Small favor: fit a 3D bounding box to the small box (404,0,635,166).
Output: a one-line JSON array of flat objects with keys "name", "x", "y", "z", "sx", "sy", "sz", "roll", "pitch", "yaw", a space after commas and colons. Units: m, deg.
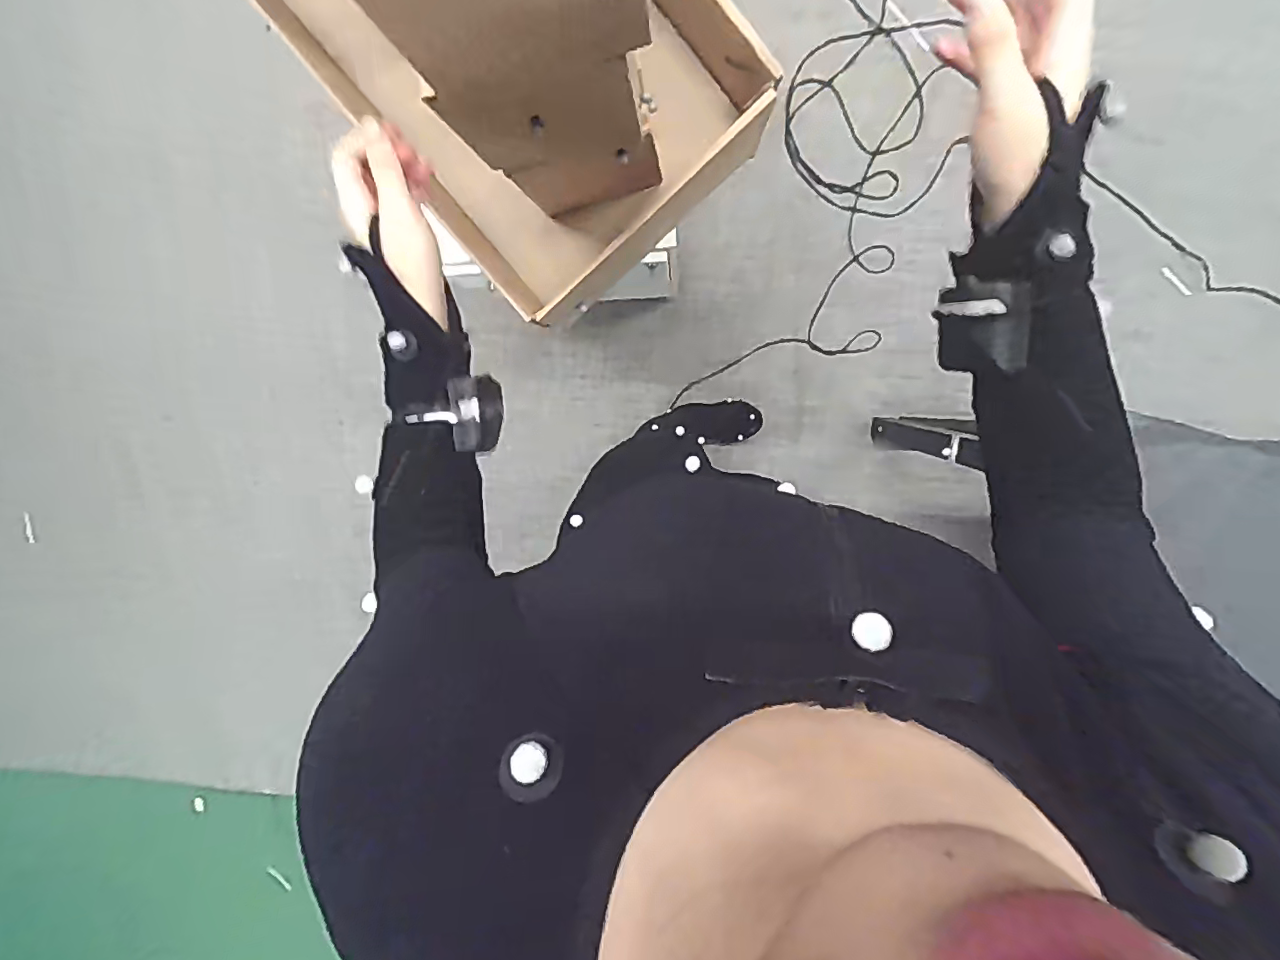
[{"name": "small box", "x": -0.102, "y": -0.426, "z": 0.511, "sx": 0.179, "sy": 0.176, "sz": 0.168, "roll": -6, "pitch": 100, "yaw": 8}]
